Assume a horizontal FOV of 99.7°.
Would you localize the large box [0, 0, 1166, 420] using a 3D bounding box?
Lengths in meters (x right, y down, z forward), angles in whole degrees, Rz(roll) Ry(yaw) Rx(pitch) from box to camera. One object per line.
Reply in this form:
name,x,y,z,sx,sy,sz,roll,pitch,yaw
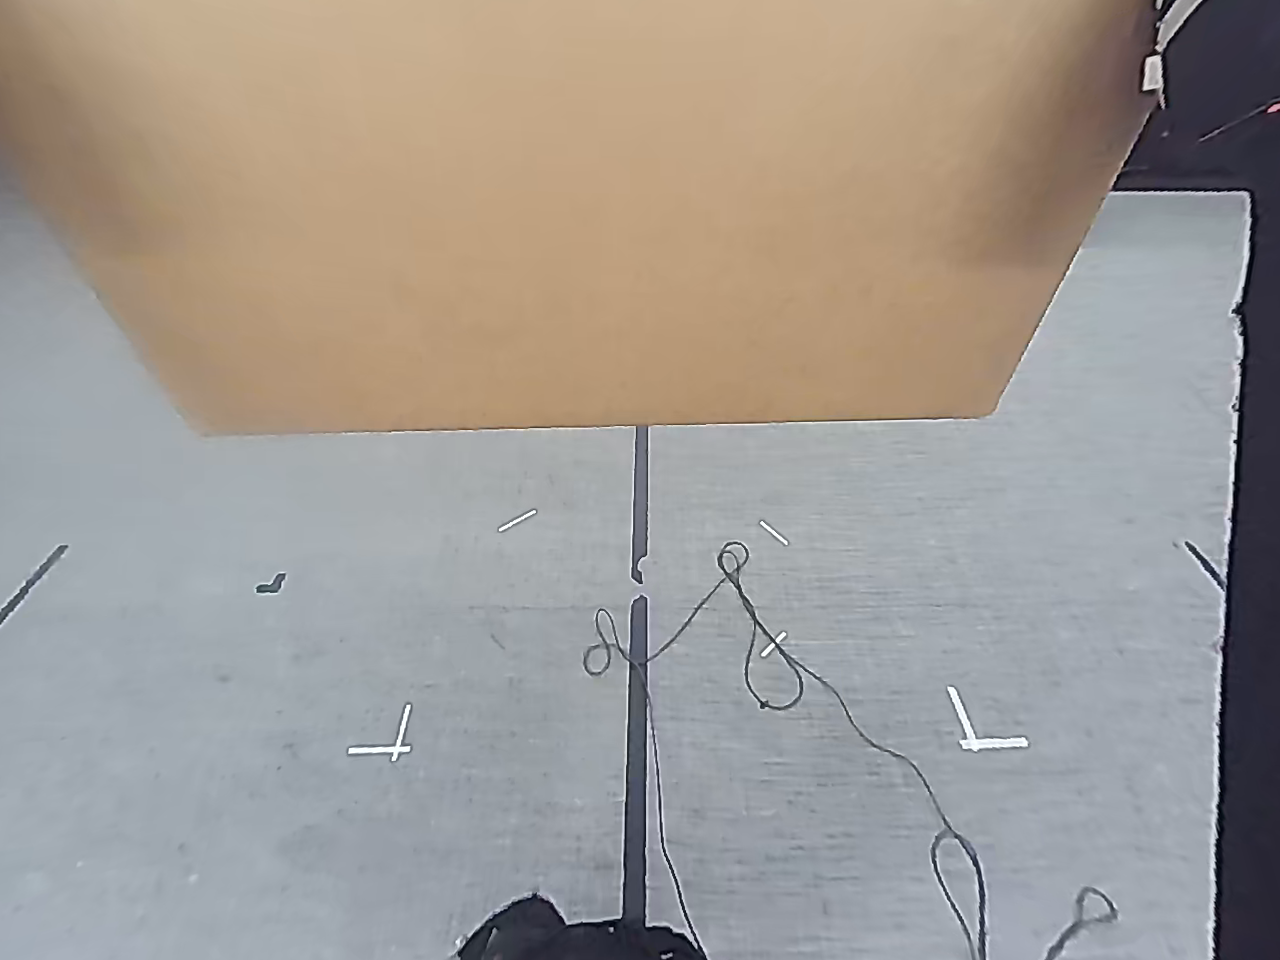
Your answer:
large box,-0.023,-0.245,0.297,0.408,0.320,0.320,-1,42,-2
